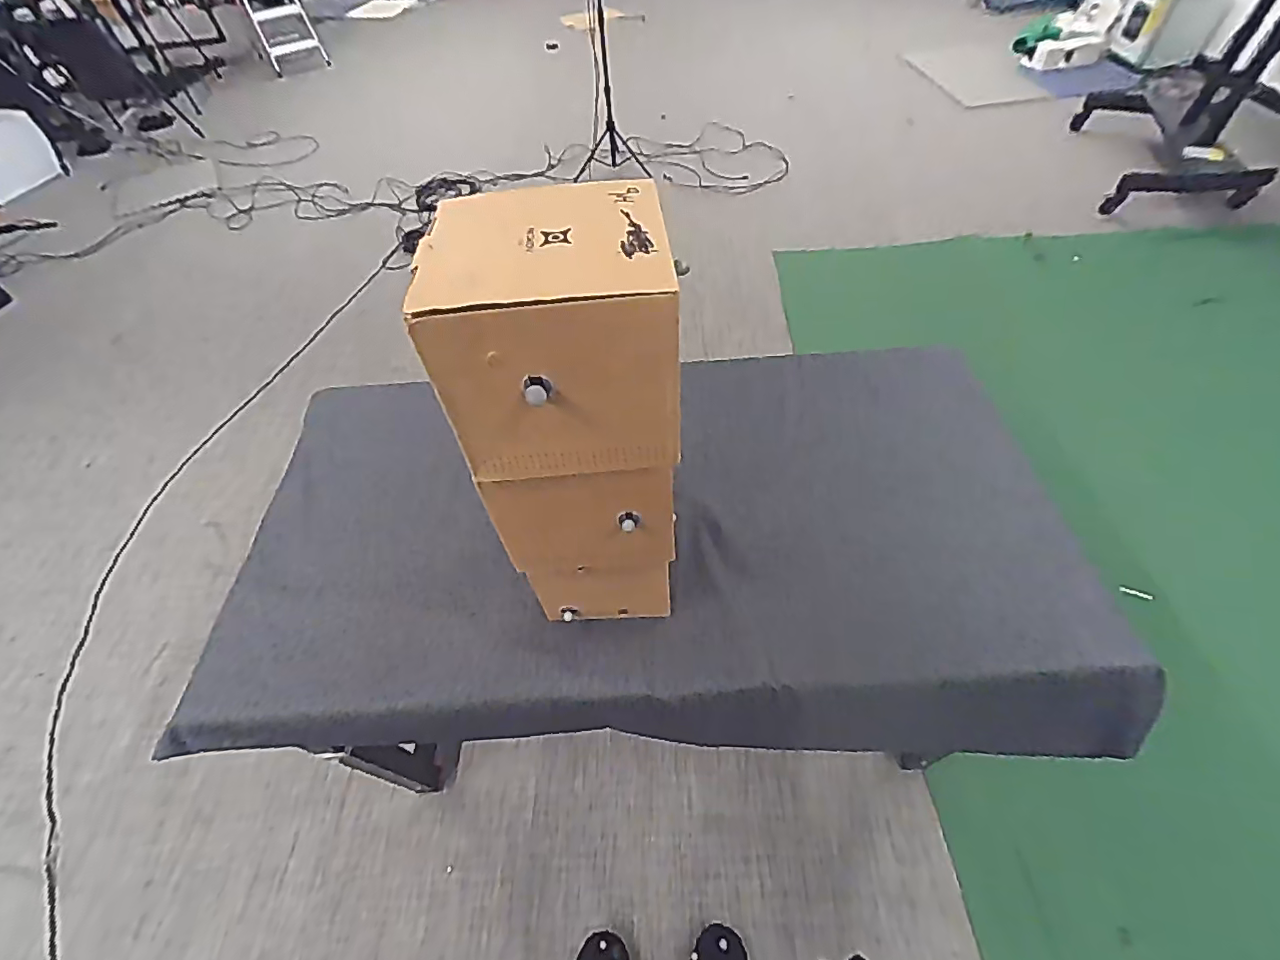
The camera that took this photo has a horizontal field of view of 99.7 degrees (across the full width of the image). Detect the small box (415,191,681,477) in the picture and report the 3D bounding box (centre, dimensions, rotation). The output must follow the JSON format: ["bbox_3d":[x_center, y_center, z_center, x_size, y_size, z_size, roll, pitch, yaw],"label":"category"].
[{"bbox_3d":[-0.062,-0.117,0.457,0.179,0.176,0.168,-7,50,-2],"label":"small box"}]

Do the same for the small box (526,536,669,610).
[{"bbox_3d":[-0.047,0.065,0.723,0.168,0.176,0.179,-2,52,2],"label":"small box"}]

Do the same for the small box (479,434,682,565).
[{"bbox_3d":[-0.055,-0.027,0.570,0.179,0.176,0.168,-7,52,-2],"label":"small box"}]
